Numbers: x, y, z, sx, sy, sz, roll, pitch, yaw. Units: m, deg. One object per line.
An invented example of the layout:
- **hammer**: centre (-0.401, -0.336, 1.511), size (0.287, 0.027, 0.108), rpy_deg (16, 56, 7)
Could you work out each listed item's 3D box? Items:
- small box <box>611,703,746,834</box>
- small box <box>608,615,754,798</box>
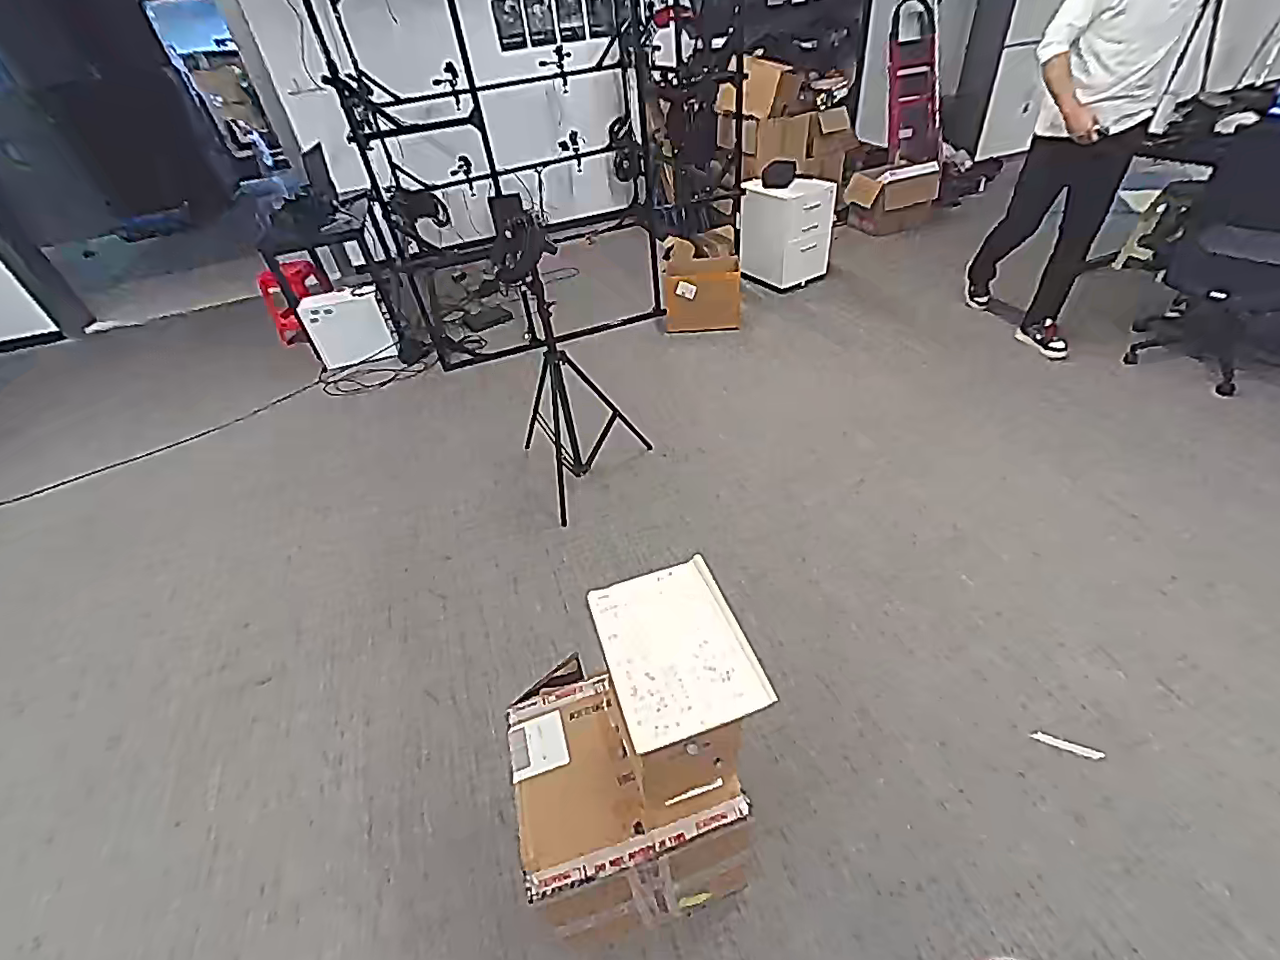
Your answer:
- **small box**: centre (0.062, 0.467, 0.930), size (0.179, 0.176, 0.168), rpy_deg (-18, 42, -13)
- **small box**: centre (0.055, 0.342, 0.823), size (0.168, 0.176, 0.179), rpy_deg (-15, 43, -11)
